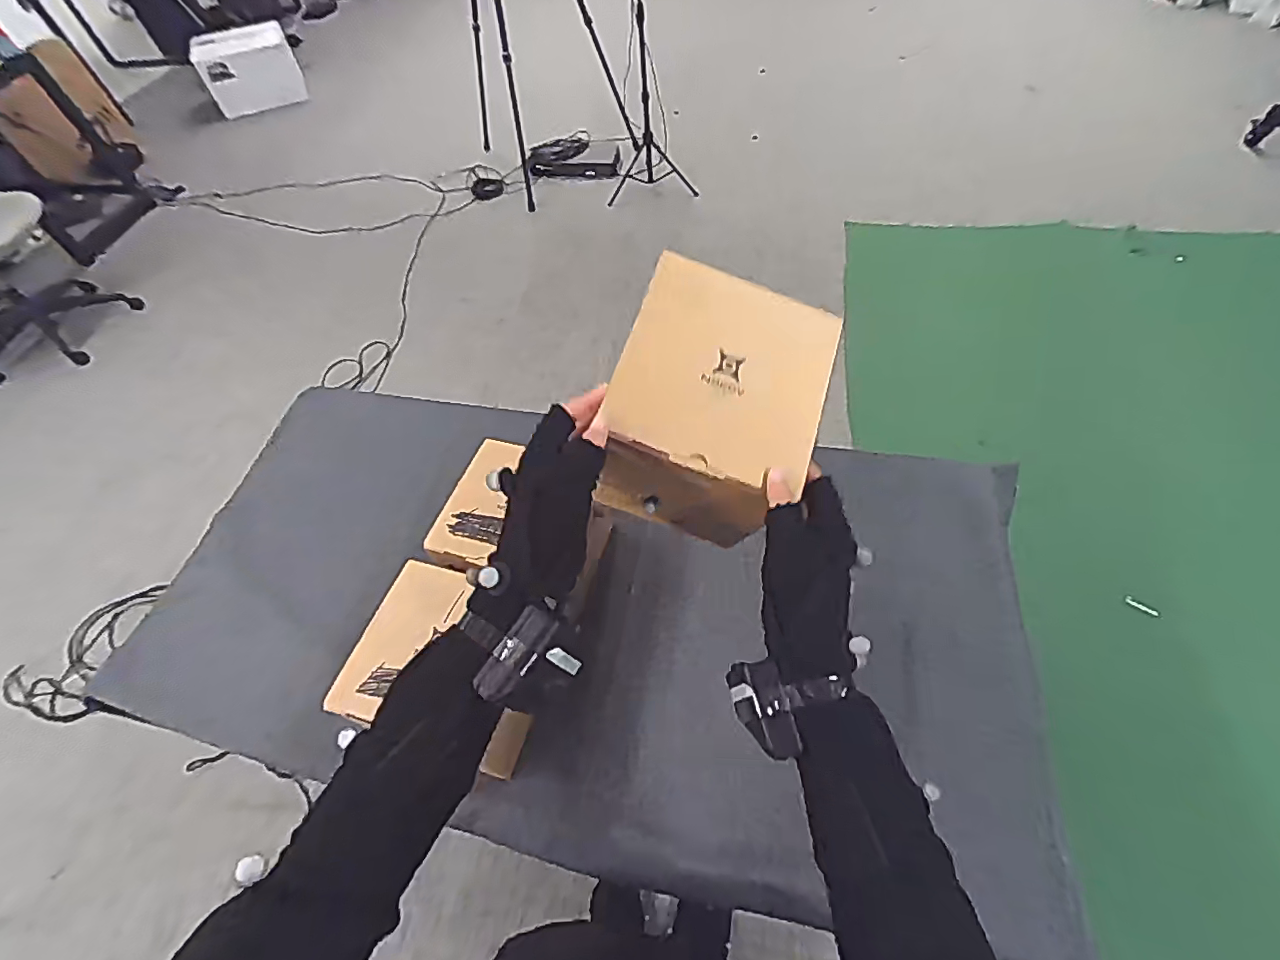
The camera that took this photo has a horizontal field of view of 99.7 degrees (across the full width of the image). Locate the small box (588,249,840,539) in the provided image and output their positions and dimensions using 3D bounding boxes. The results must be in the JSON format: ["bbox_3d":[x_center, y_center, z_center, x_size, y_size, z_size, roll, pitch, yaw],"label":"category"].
[{"bbox_3d":[0.055,-0.064,0.498,0.168,0.176,0.179,20,71,-2],"label":"small box"}]
